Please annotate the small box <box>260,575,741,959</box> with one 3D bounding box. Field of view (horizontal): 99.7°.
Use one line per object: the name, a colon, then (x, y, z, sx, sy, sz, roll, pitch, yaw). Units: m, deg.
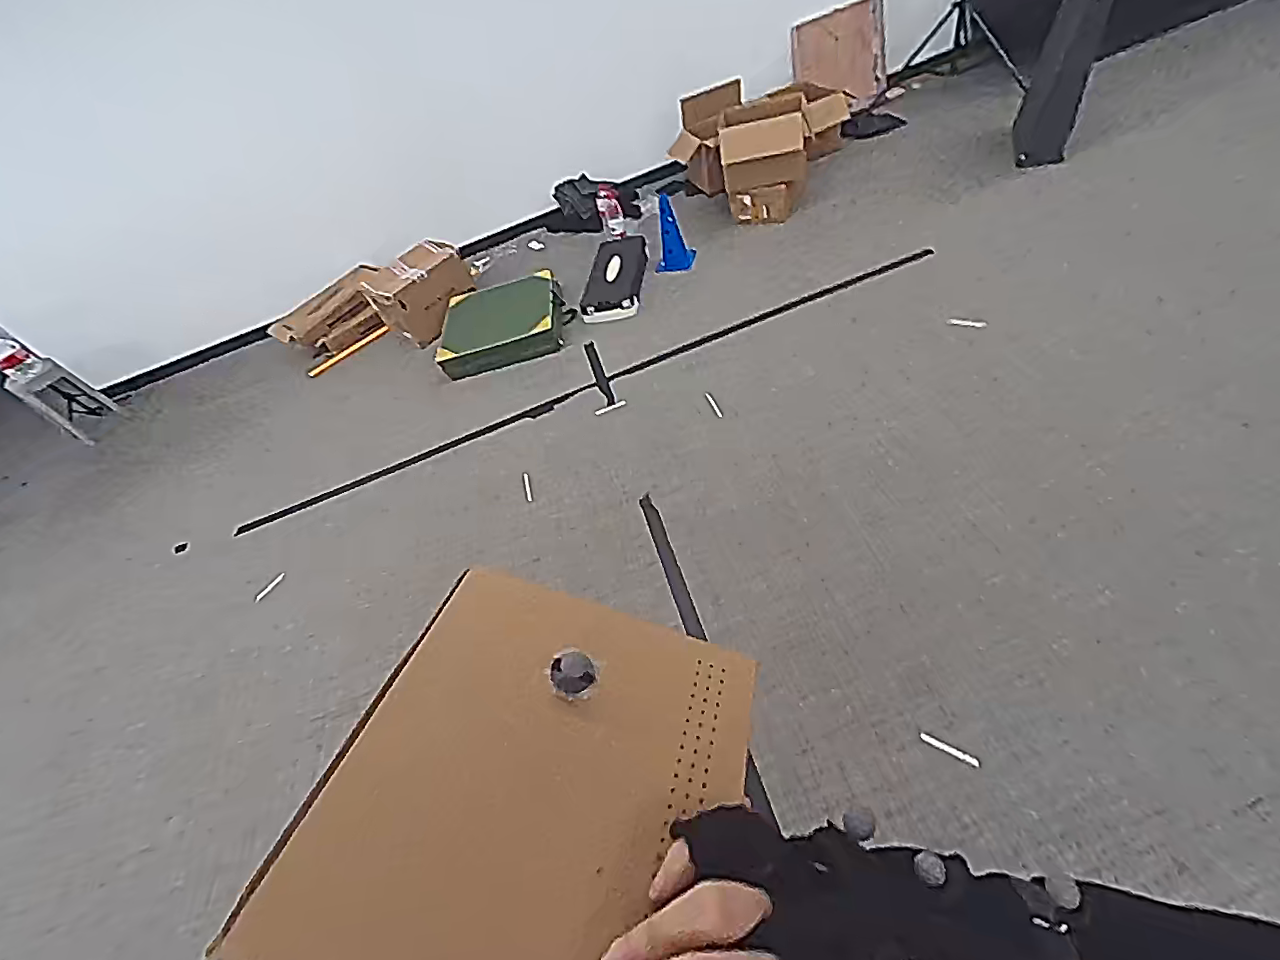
small box: (-0.050, 0.189, 0.300, 0.176, 0.168, 0.179, 16, 40, 5)
